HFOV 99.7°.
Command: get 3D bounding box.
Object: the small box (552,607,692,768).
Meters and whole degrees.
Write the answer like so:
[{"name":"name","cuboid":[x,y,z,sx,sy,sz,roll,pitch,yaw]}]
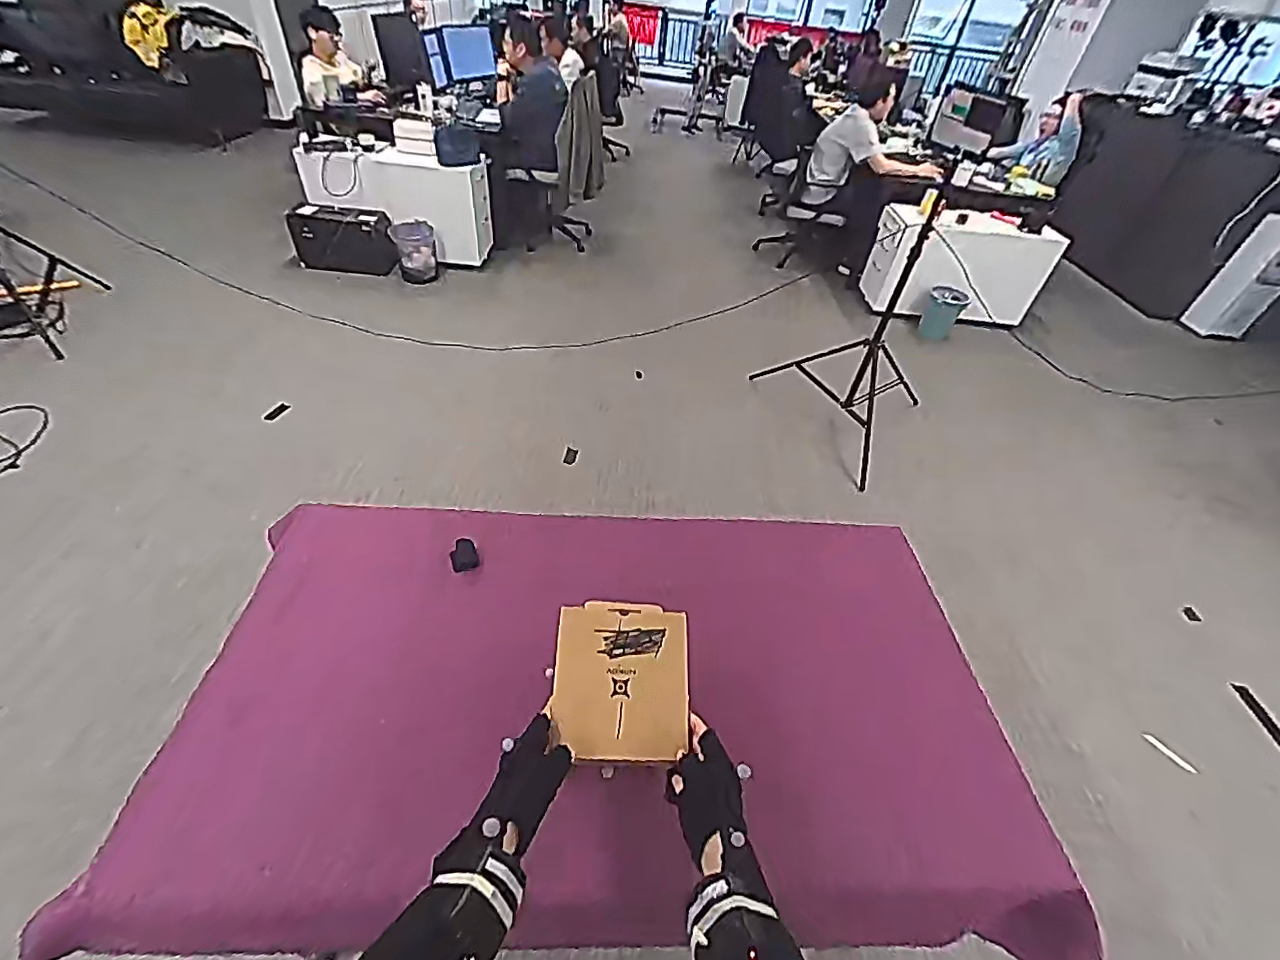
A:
[{"name":"small box","cuboid":[-0.027,0.286,0.732,0.168,0.176,0.179,4,60,-4]}]
